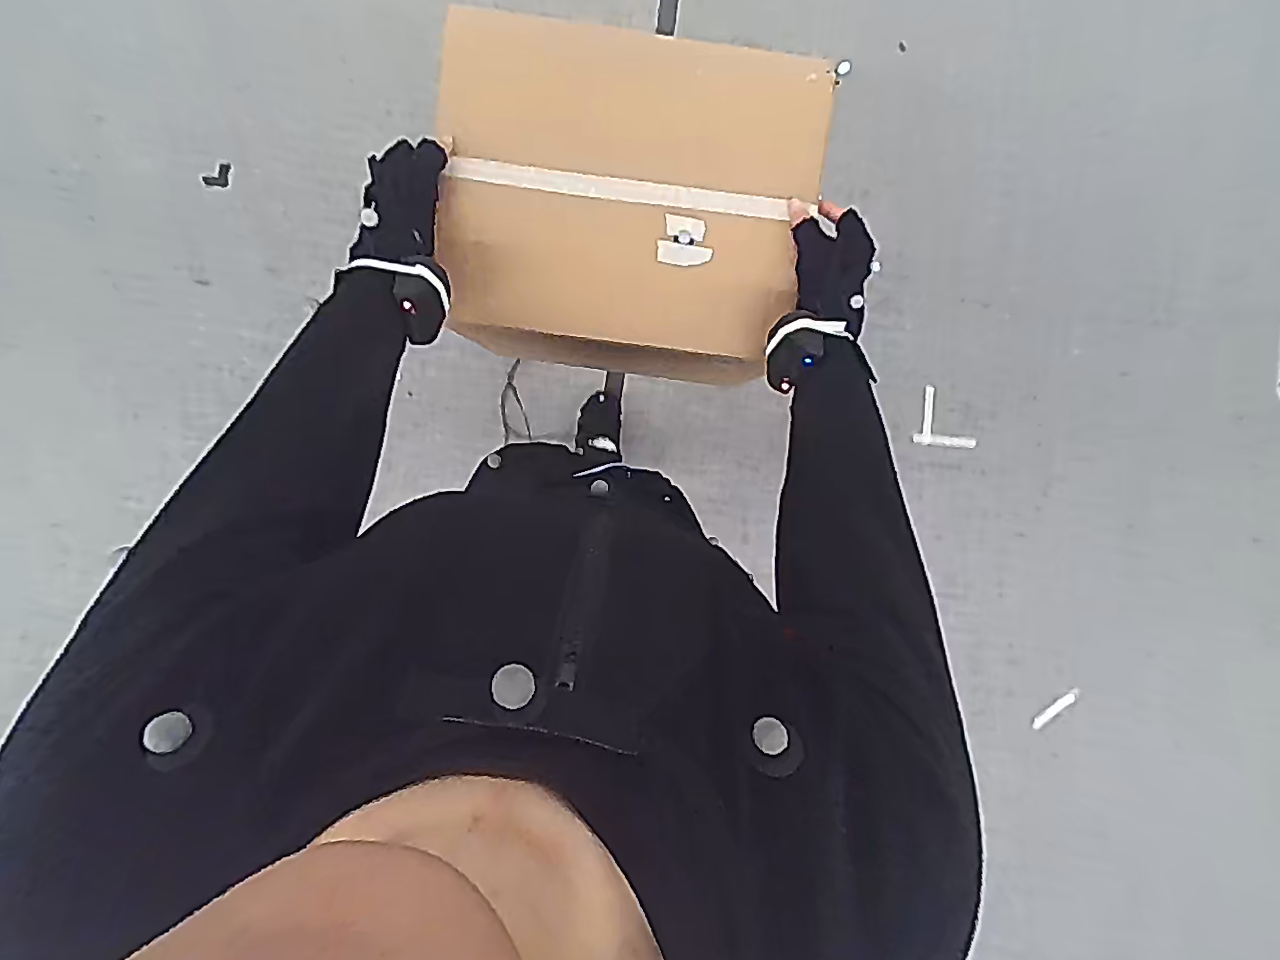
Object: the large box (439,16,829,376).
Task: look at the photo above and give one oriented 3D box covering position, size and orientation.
[{"bbox_3d":[-0.014,-0.328,0.730,0.408,0.320,0.320,6,96,-2],"label":"large box"}]
